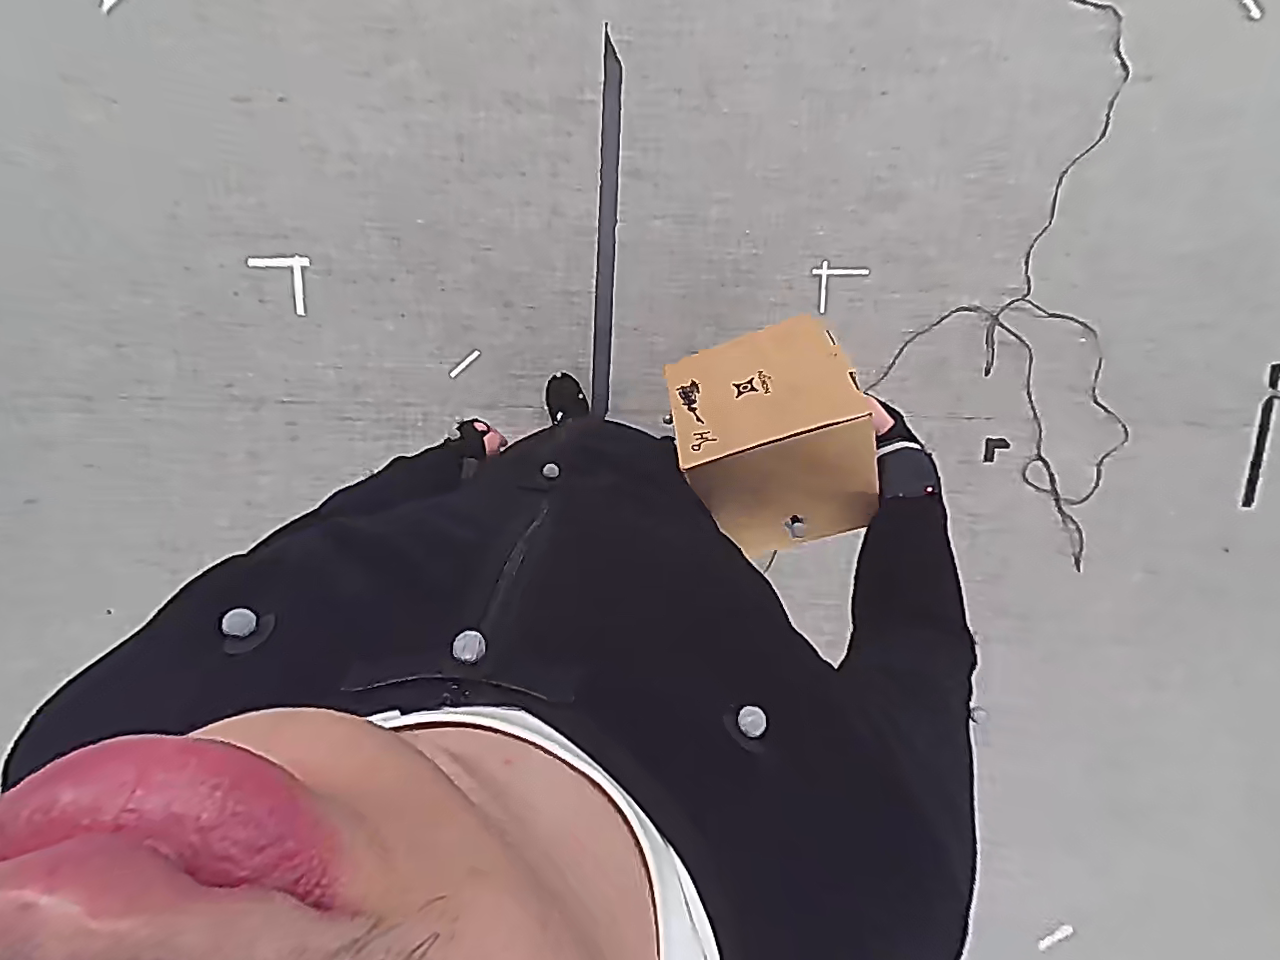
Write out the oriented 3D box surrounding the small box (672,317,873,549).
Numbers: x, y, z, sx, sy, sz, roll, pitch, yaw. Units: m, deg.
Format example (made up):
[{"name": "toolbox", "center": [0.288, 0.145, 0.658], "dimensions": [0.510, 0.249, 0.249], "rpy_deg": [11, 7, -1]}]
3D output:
[{"name": "small box", "center": [0.147, -0.046, 0.609], "dimensions": [0.179, 0.168, 0.176], "rpy_deg": [-16, 135, 12]}]
